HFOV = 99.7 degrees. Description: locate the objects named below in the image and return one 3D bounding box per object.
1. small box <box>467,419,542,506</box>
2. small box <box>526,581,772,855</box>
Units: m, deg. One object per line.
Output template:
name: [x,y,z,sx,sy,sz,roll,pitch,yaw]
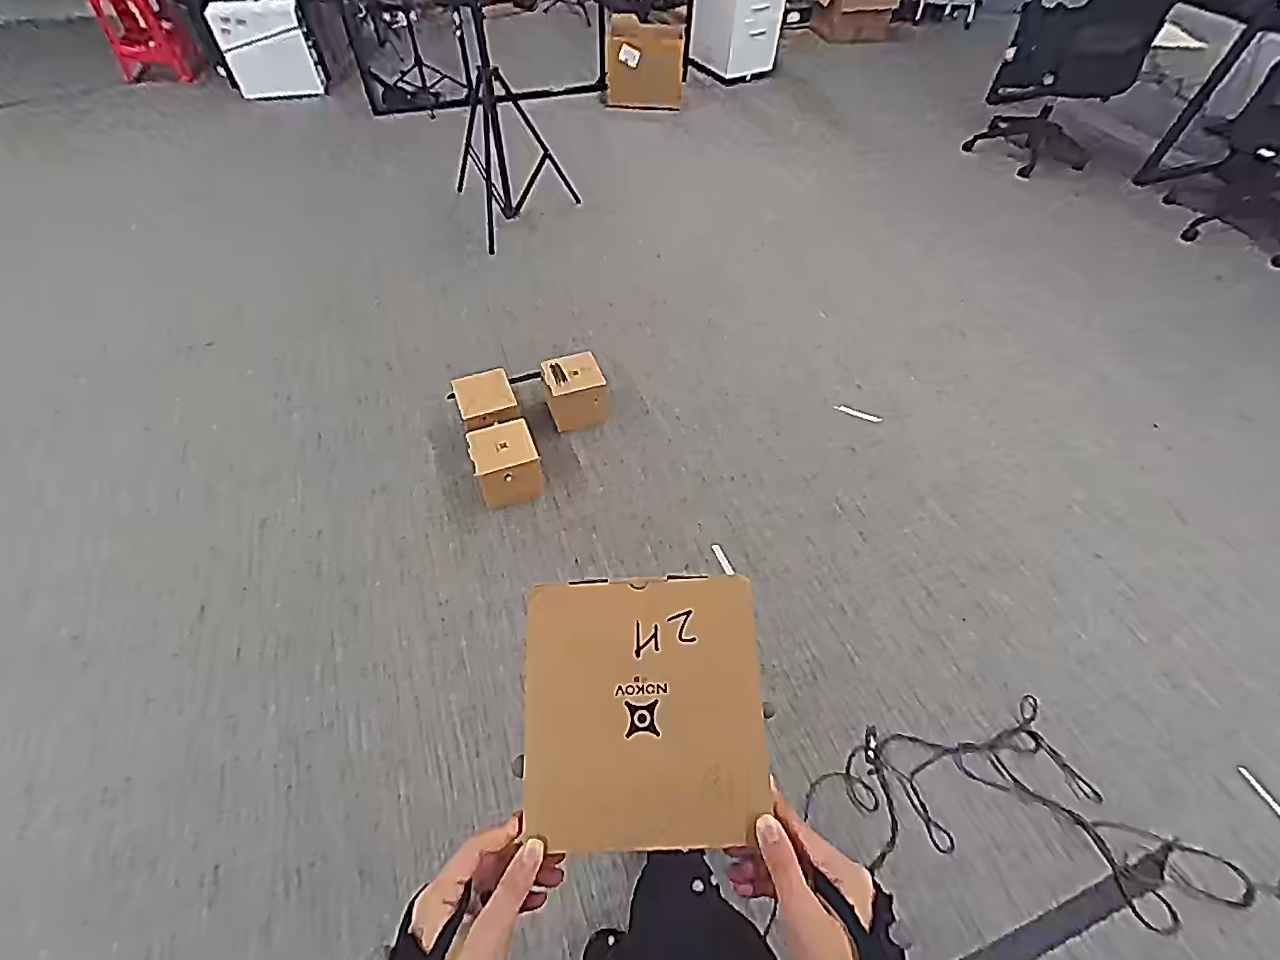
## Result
small box: [-0.395,-0.049,1.601,0.179,0.176,0.168,-17,57,-14]
small box: [0.007,0.183,0.453,0.168,0.176,0.179,-3,72,1]
